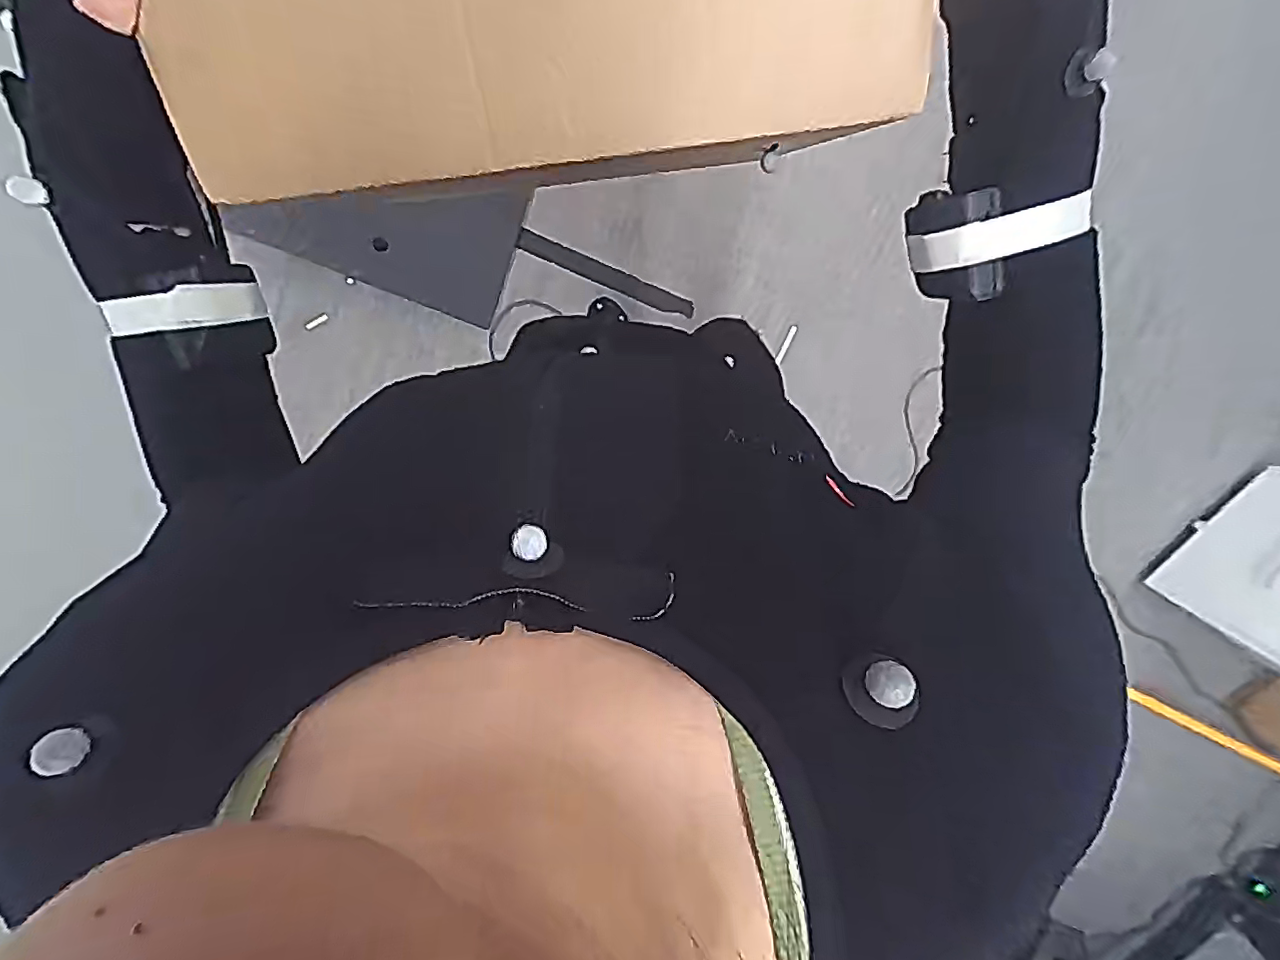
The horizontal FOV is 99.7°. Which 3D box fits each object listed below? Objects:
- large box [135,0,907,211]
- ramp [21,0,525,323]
[{"bbox_3d":[-0.070,-0.389,0.375,0.408,0.320,0.320,-7,117,1],"label":"large box"},{"bbox_3d":[-0.776,-0.771,1.212,0.991,0.206,0.509,20,107,-4],"label":"ramp"}]
